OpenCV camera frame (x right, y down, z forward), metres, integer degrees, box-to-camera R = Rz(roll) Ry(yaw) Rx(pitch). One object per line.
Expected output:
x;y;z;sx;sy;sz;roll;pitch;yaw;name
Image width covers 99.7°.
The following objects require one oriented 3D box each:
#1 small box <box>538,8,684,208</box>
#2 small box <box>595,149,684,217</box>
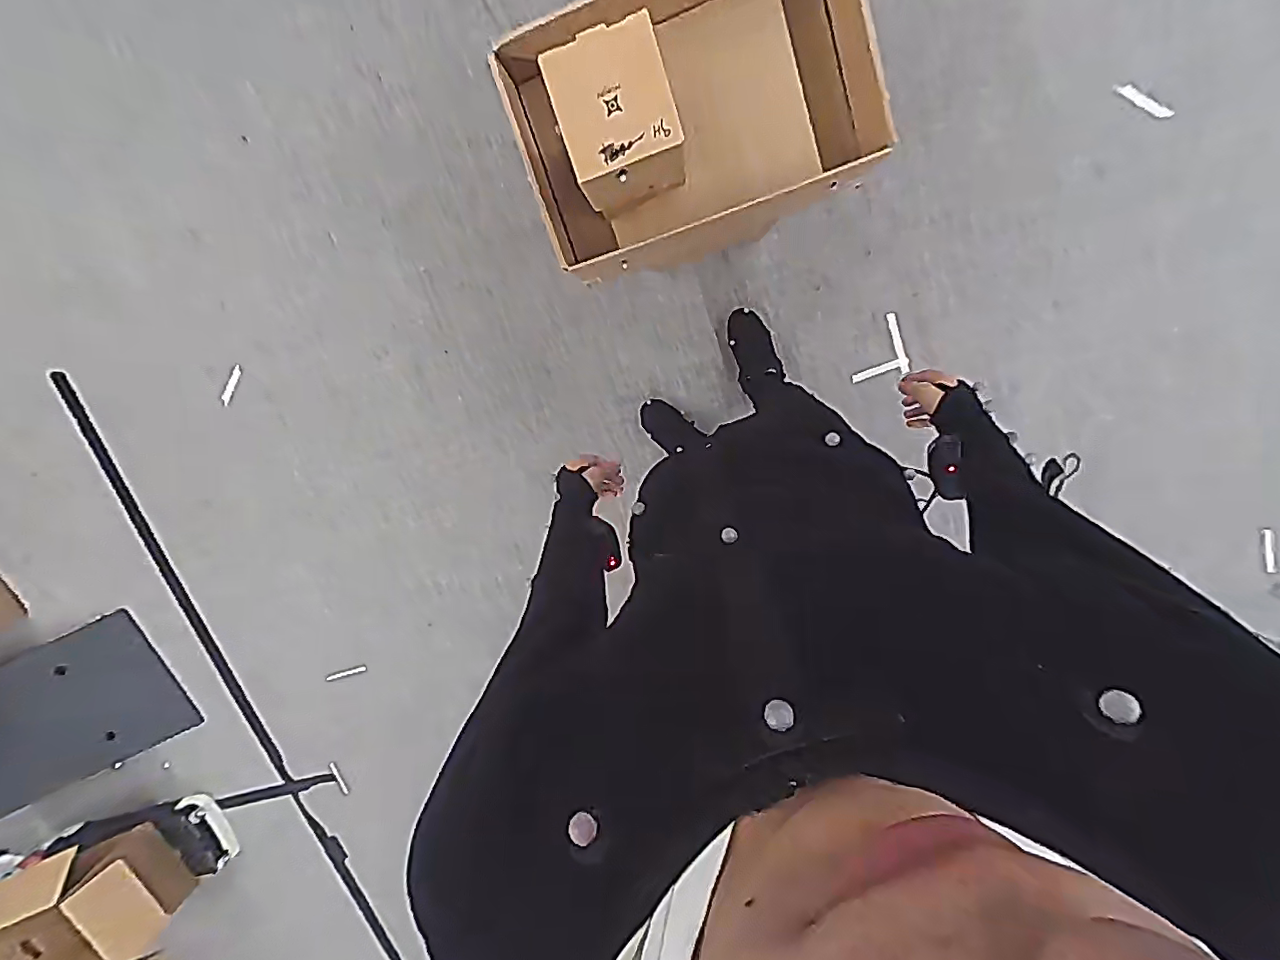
-0.036;-0.555;0.835;0.168;0.176;0.179;-17;101;8;small box
-0.030;-0.613;0.988;0.179;0.176;0.168;-22;101;10;small box
